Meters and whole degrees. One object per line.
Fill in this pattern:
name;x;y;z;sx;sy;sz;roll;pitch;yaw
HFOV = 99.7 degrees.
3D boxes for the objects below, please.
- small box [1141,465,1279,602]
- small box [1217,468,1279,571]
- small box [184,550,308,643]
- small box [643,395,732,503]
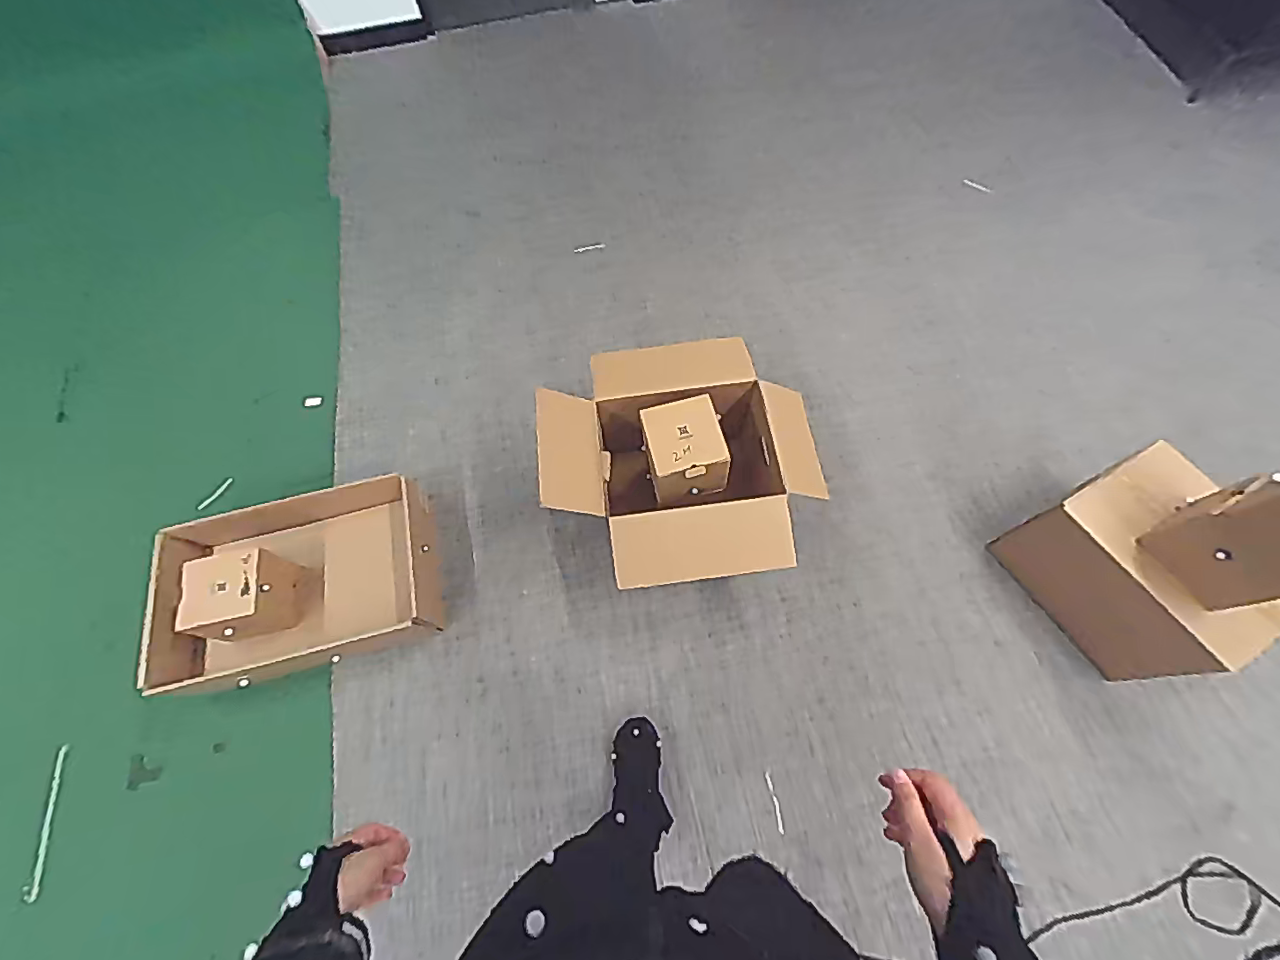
small box;1.132;0.108;1.025;0.168;0.176;0.179;-30;68;-9
small box;1.128;0.053;0.872;0.168;0.176;0.179;-29;67;-8
small box;-0.953;0.290;1.323;0.179;0.176;0.168;-13;65;-4
small box;0.109;-0.069;1.284;0.168;0.176;0.179;-15;66;-1
